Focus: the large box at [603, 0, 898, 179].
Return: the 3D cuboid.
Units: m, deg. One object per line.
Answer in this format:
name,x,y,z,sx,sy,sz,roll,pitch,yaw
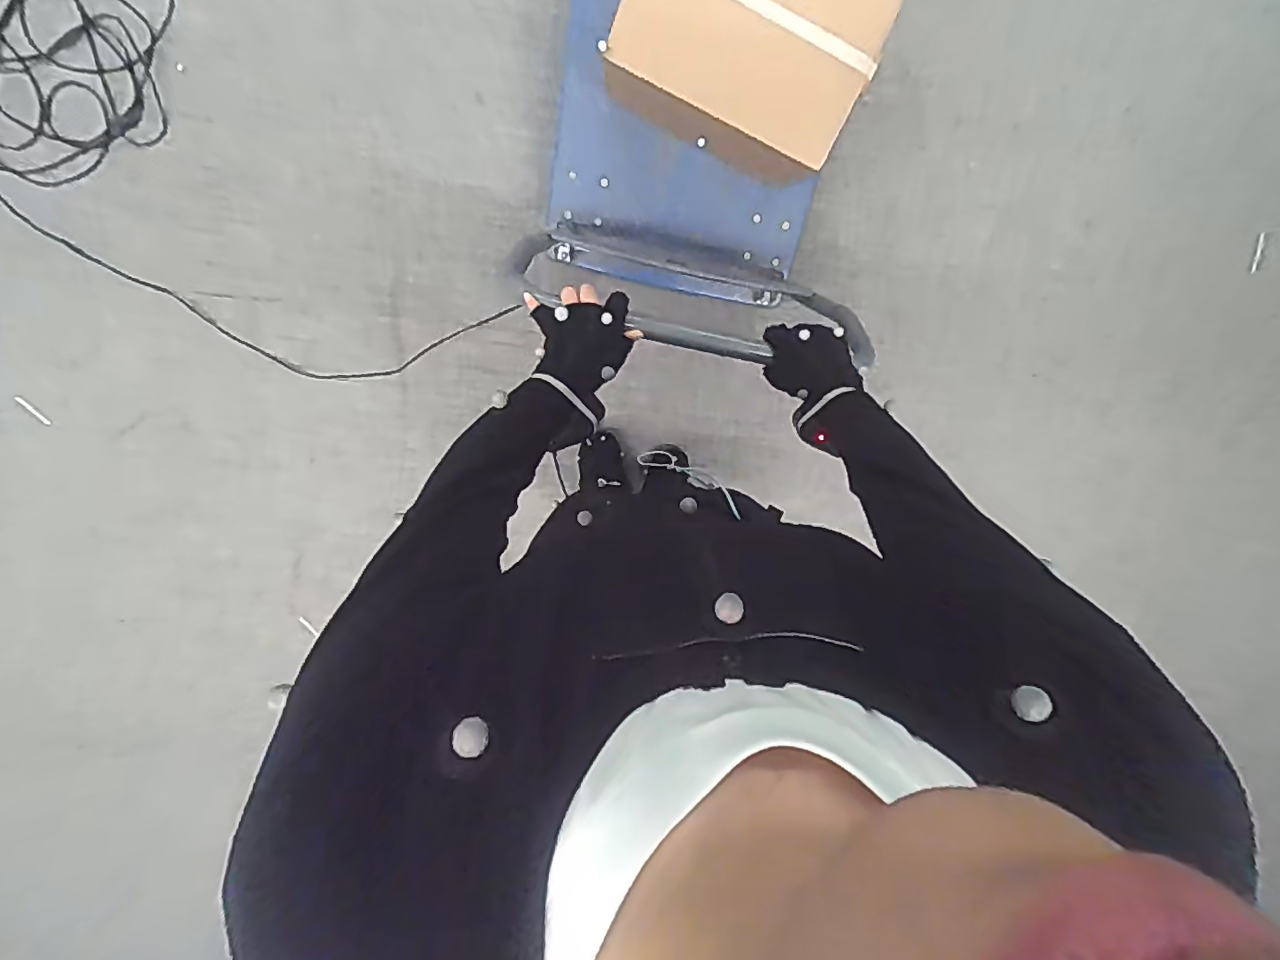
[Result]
large box,0.184,-0.796,0.974,0.408,0.320,0.320,22,112,-9
